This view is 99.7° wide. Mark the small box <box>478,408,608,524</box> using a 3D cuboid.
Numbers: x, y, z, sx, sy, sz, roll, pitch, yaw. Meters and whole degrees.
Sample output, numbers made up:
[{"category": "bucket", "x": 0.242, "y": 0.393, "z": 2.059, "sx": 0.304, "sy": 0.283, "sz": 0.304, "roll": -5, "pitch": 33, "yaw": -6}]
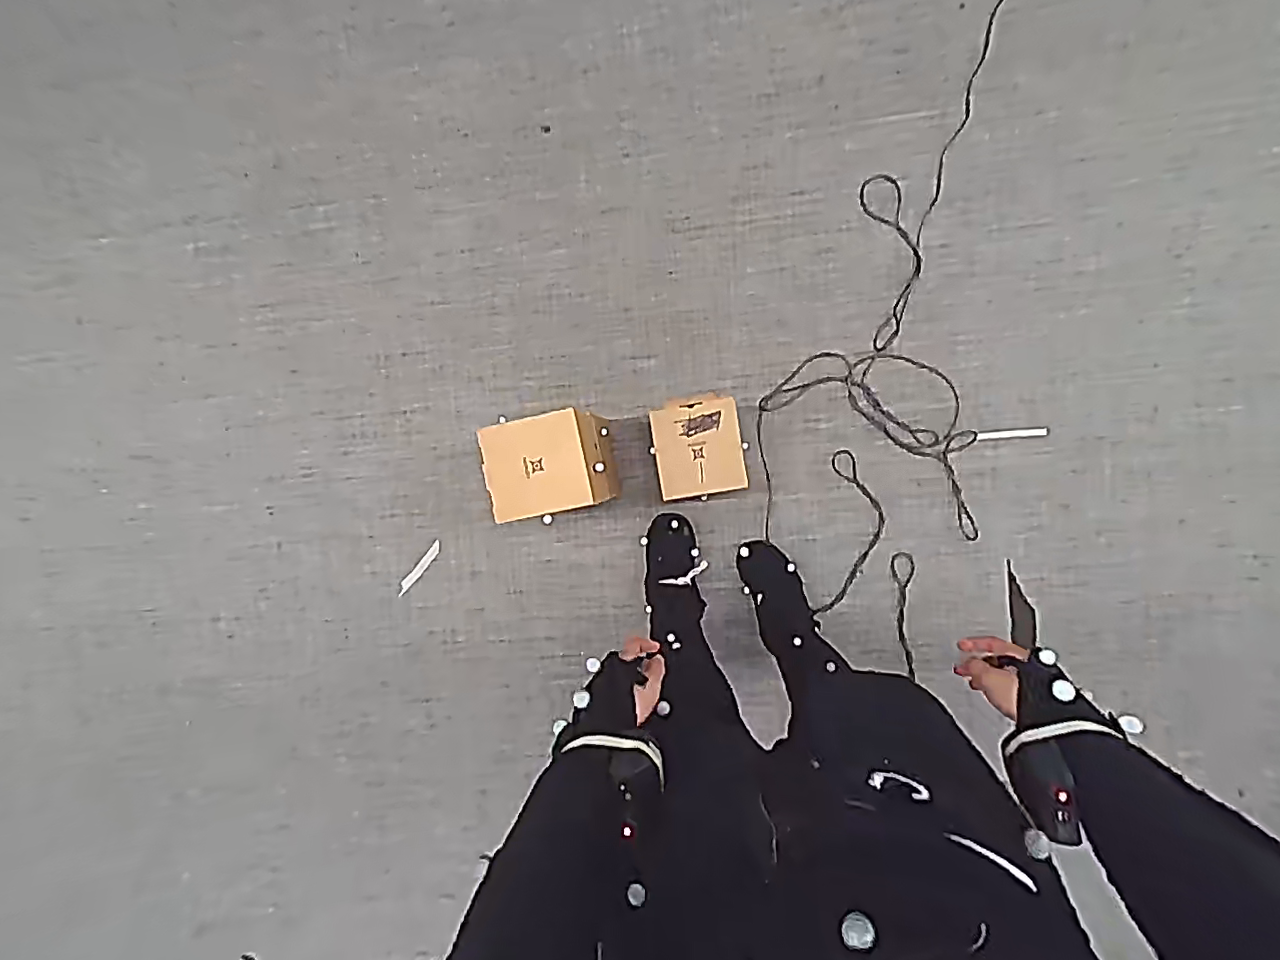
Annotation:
[{"category": "small box", "x": -0.161, "y": -0.026, "z": 0.970, "sx": 0.179, "sy": 0.176, "sz": 0.168, "roll": -12, "pitch": 90, "yaw": 8}]

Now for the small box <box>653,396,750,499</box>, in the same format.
[{"category": "small box", "x": 0.125, "y": -0.063, "z": 1.097, "sx": 0.168, "sy": 0.176, "sz": 0.179, "roll": -9, "pitch": 91, "yaw": 8}]
